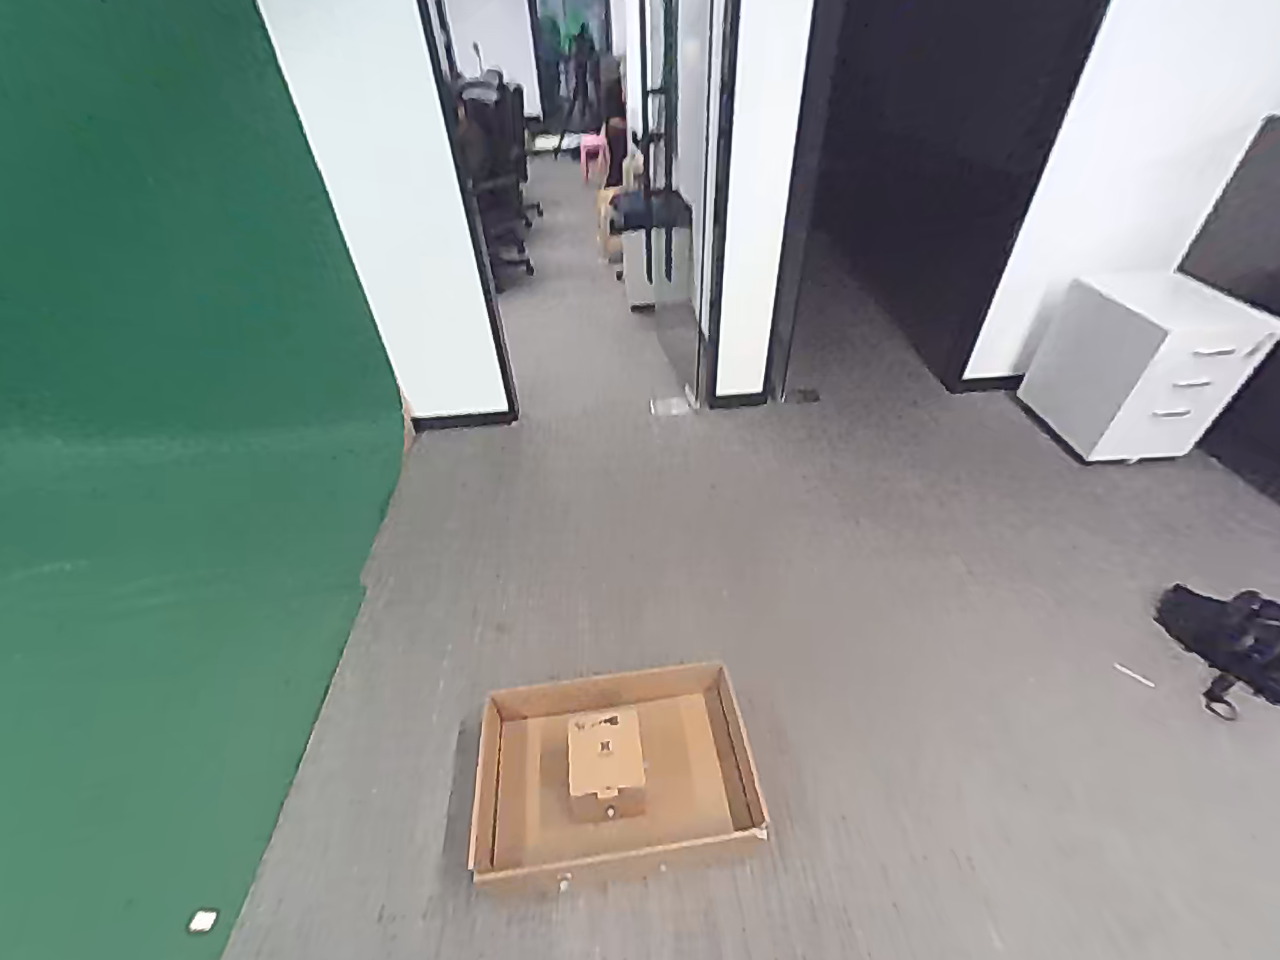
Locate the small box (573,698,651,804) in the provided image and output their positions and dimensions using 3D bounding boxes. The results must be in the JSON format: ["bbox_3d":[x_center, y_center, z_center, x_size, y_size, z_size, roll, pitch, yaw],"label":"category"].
[{"bbox_3d":[-0.066,0.647,1.284,0.168,0.176,0.179,-6,42,-3],"label":"small box"}]
